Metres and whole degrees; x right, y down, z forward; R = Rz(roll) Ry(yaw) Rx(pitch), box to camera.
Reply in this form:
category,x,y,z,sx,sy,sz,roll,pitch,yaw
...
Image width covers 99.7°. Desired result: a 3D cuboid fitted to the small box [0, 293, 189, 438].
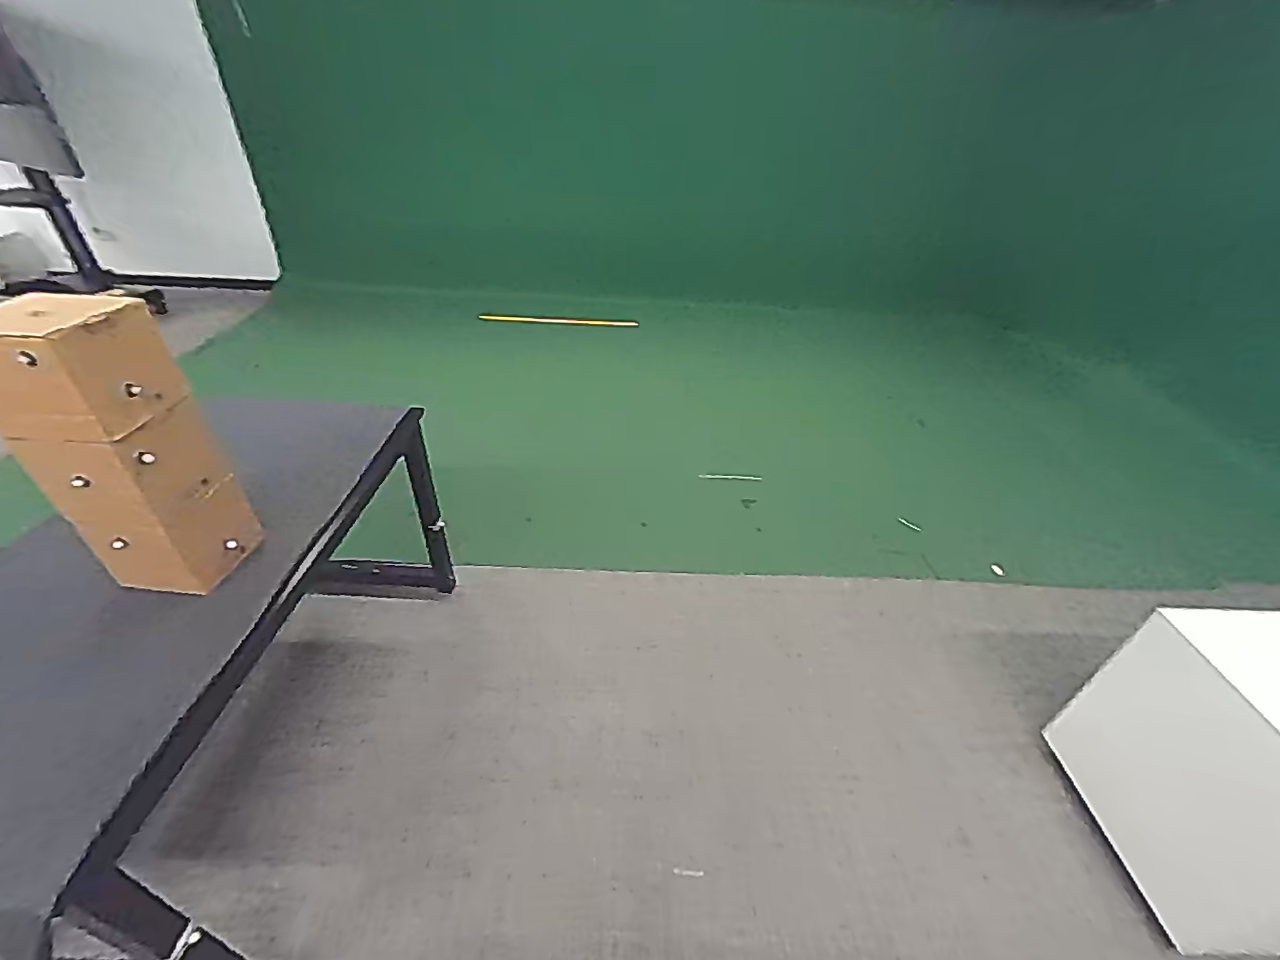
category,x,y,z,sx,sy,sz,roll,pitch,yaw
small box,-0.856,-0.175,0.820,0.179,0.176,0.168,3,35,1

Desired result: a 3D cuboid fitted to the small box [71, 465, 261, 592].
category,x,y,z,sx,sy,sz,roll,pitch,yaw
small box,-0.866,0.090,1.010,0.179,0.176,0.168,6,36,4
